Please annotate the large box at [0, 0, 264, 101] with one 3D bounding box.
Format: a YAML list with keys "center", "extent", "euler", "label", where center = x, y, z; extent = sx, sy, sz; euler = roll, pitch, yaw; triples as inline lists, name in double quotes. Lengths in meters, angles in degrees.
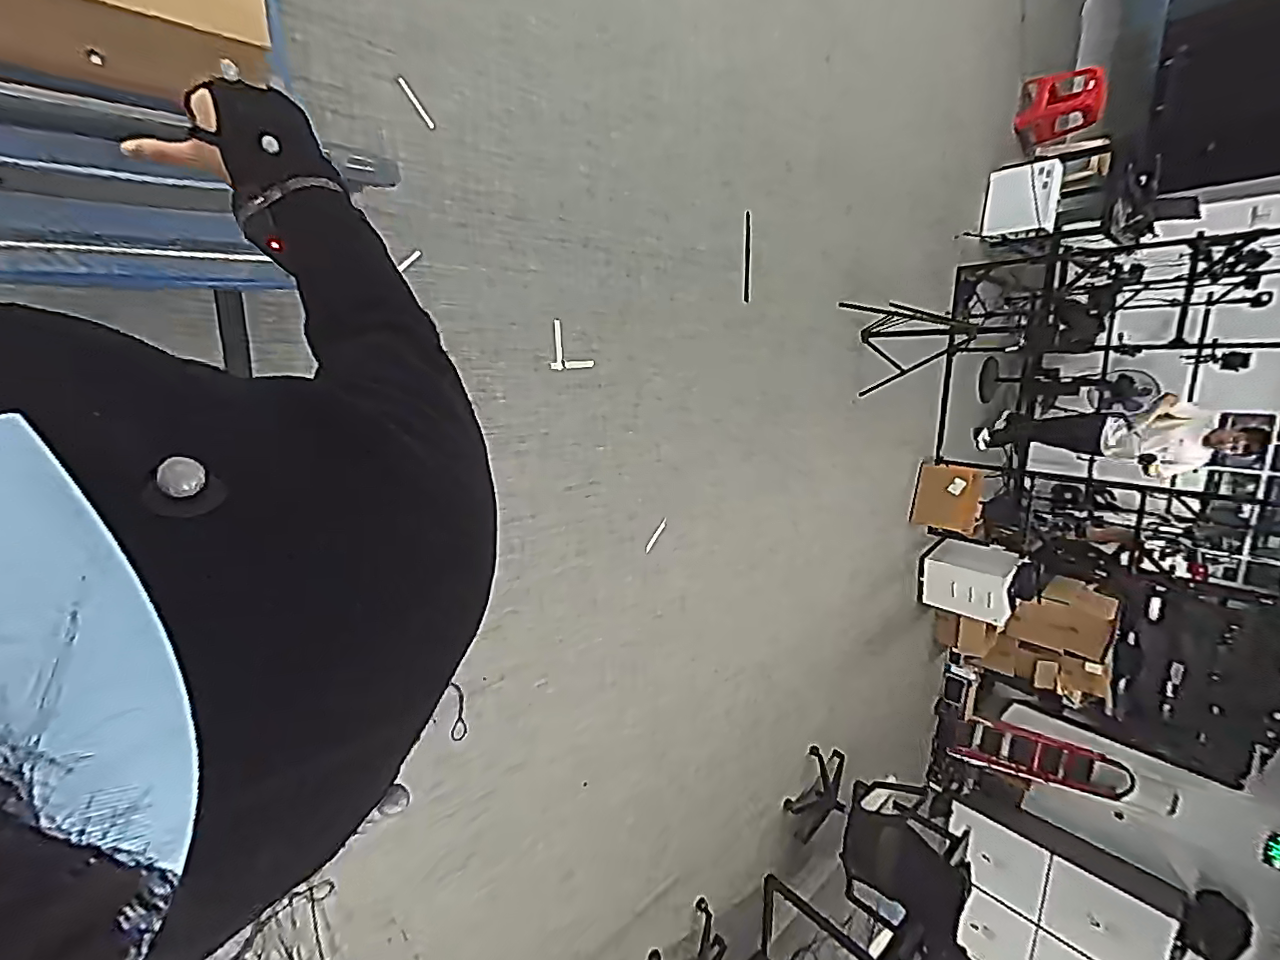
- center: [-0.806, -0.792, 0.750]
  extent: [0.408, 0.320, 0.320]
  euler: [-13, 108, -39]
  label: "large box"
